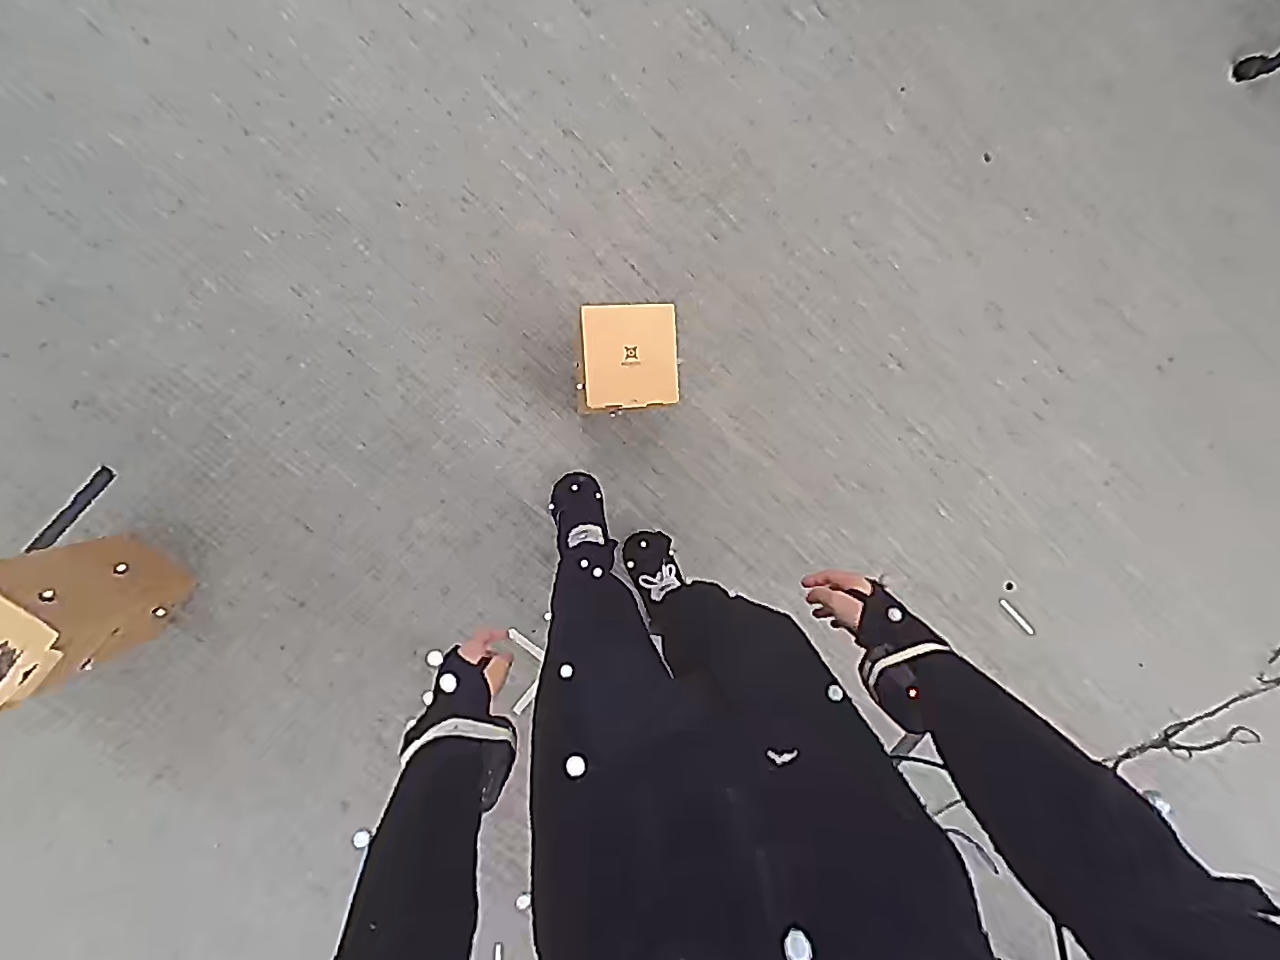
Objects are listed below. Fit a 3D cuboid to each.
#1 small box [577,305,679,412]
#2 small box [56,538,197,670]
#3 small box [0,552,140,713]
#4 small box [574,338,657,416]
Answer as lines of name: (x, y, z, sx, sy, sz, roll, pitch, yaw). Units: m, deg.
small box: (-0.028, -0.221, 1.019, 0.168, 0.176, 0.179, -4, 97, -9)
small box: (-1.048, 0.232, 1.070, 0.179, 0.176, 0.168, 38, 88, -9)
small box: (-1.020, 0.242, 0.908, 0.179, 0.176, 0.168, 39, 88, -9)
small box: (-0.055, -0.234, 1.179, 0.168, 0.176, 0.179, -4, 95, -9)
